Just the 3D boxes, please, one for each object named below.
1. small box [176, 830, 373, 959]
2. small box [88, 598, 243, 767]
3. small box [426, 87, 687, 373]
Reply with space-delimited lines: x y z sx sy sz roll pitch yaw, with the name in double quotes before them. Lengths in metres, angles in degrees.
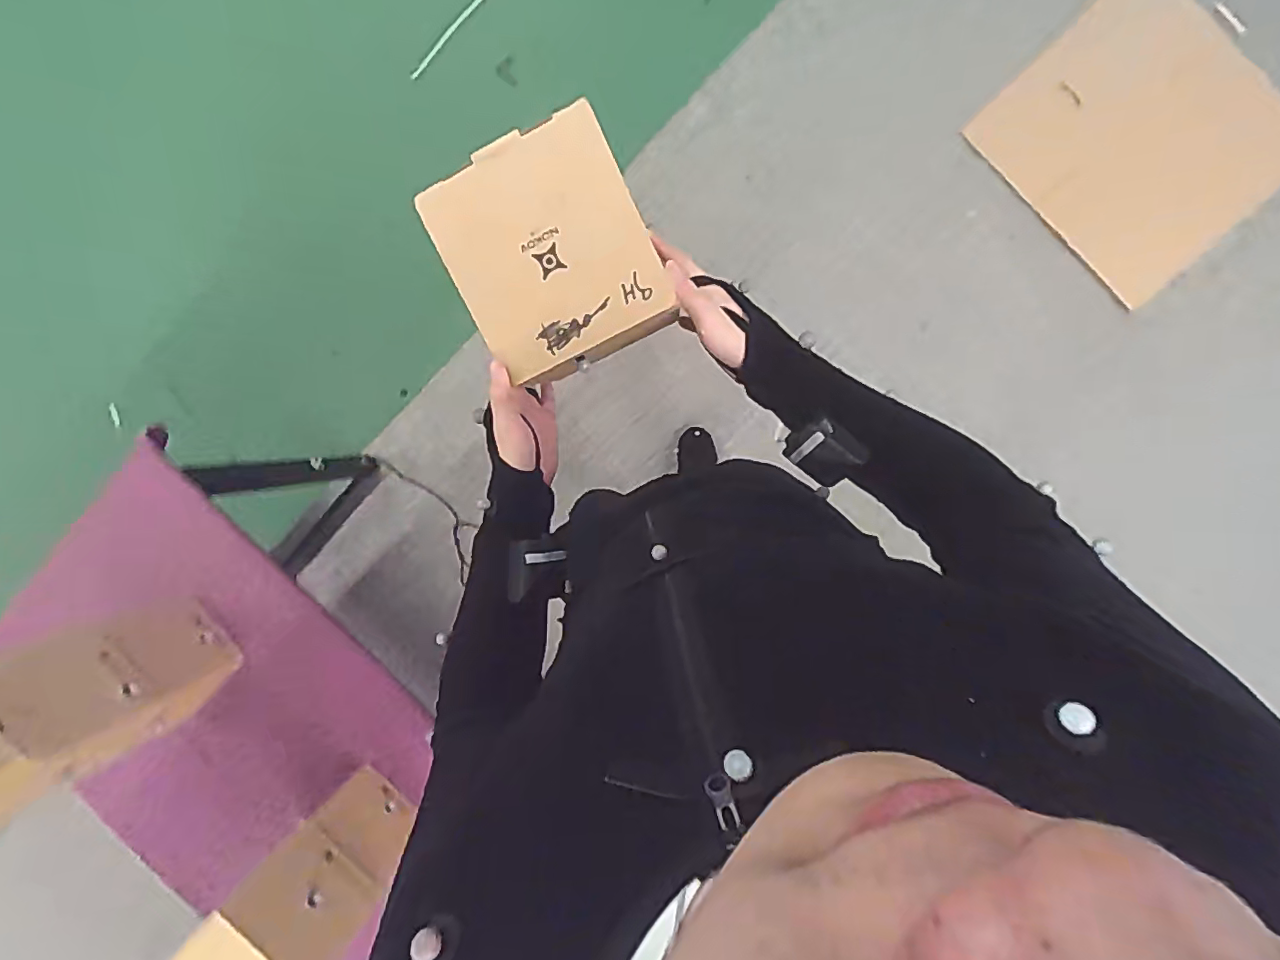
"small box" -0.511 0.645 0.753 0.168 0.176 0.179 43 97 2
"small box" -0.844 0.335 0.927 0.179 0.176 0.168 -44 91 8
"small box" -0.063 -0.213 0.520 0.168 0.176 0.179 -23 99 10
